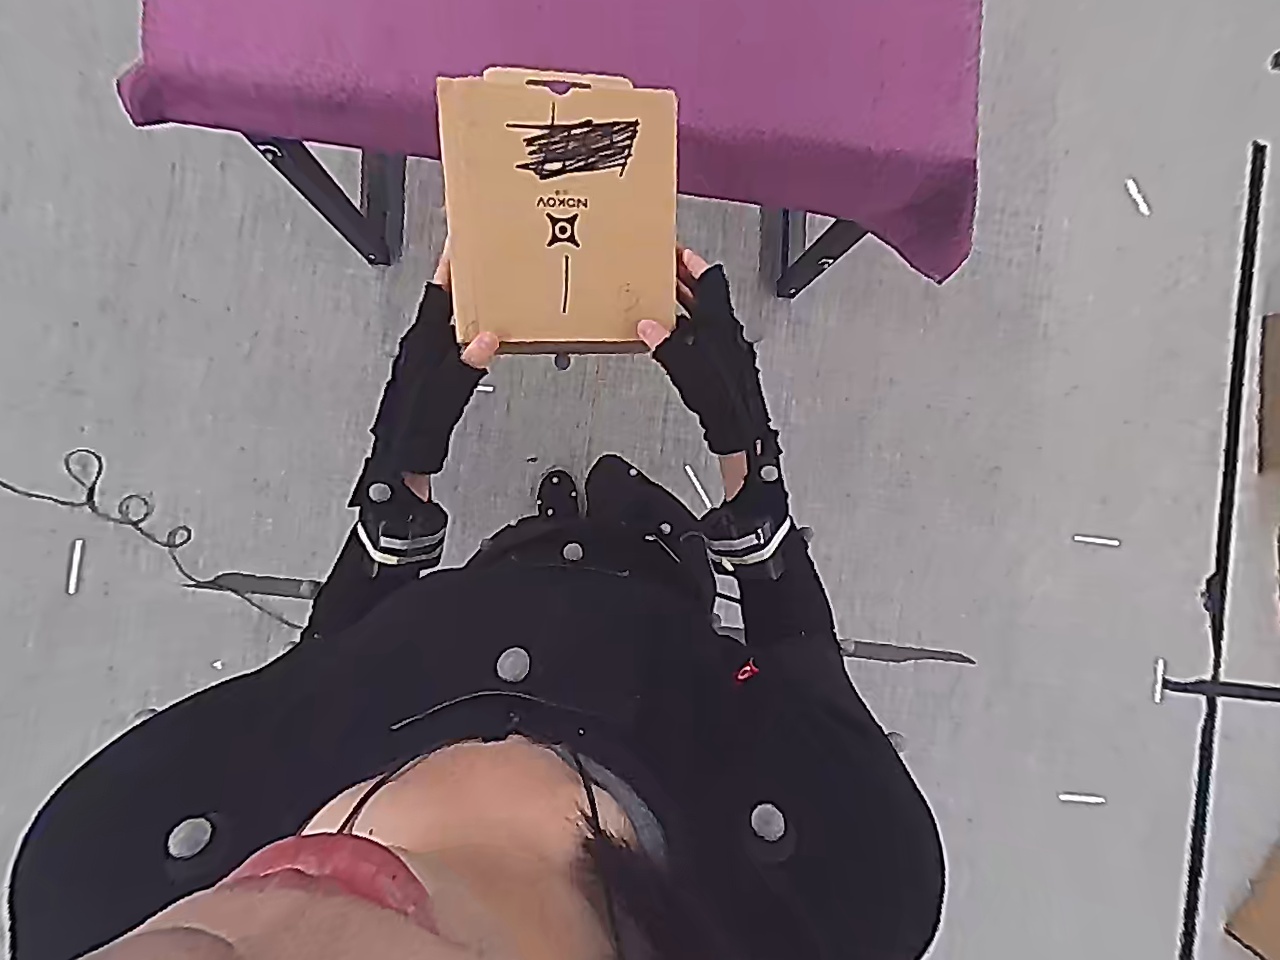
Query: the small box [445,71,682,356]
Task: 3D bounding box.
[{"bbox_3d":[-0.062,-0.202,0.463,0.168,0.176,0.179,-2,100,-7],"label":"small box"}]
